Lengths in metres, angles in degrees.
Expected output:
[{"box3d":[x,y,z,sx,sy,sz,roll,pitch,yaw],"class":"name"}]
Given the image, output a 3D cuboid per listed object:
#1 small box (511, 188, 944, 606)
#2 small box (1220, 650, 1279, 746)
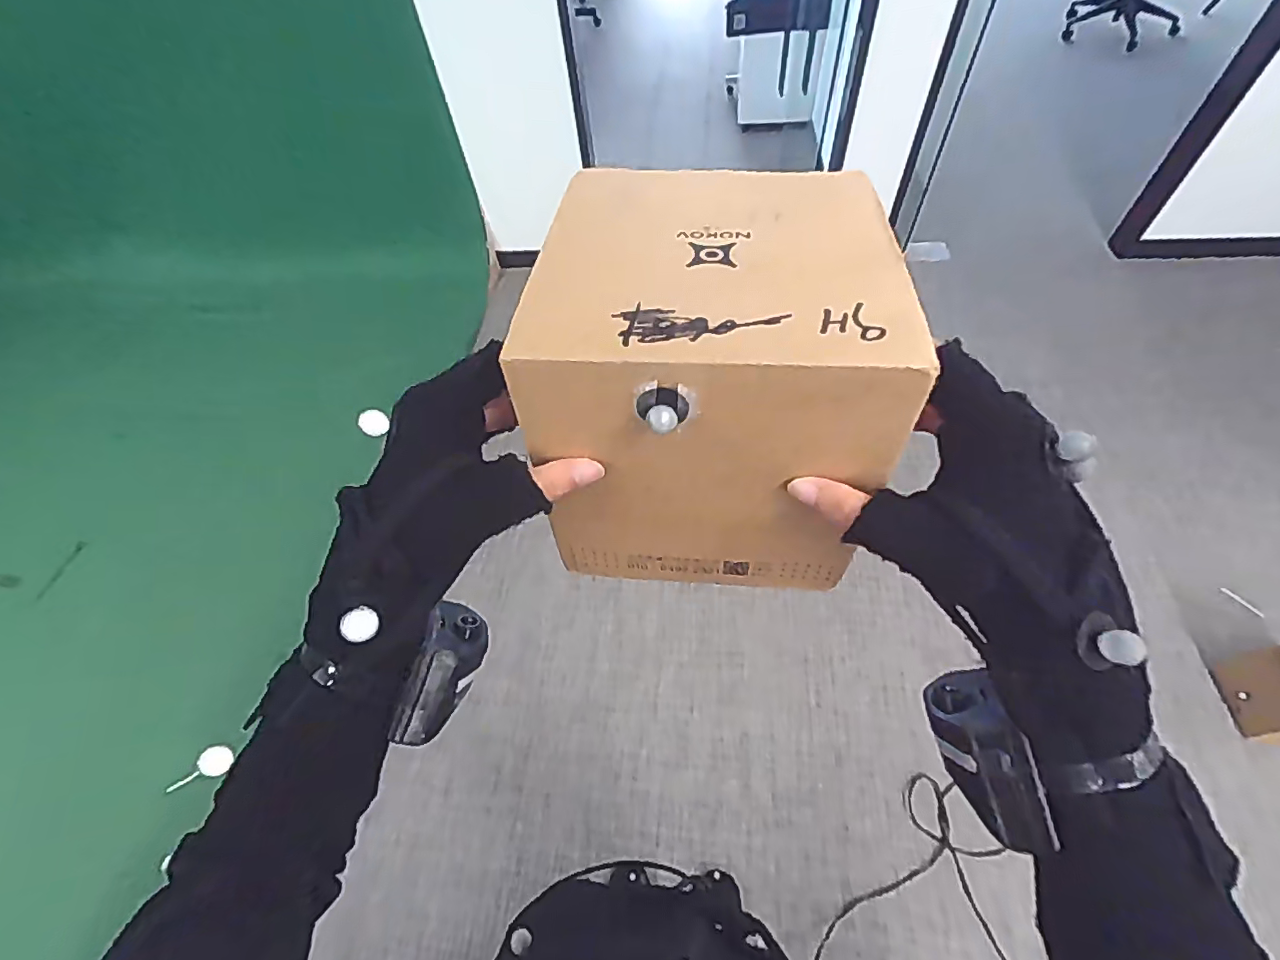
[{"box3d":[0.042,-0.049,0.316,0.168,0.176,0.179,3,49,7],"class":"small box"},{"box3d":[1.466,0.485,1.186,0.179,0.176,0.168,2,55,7],"class":"small box"}]
